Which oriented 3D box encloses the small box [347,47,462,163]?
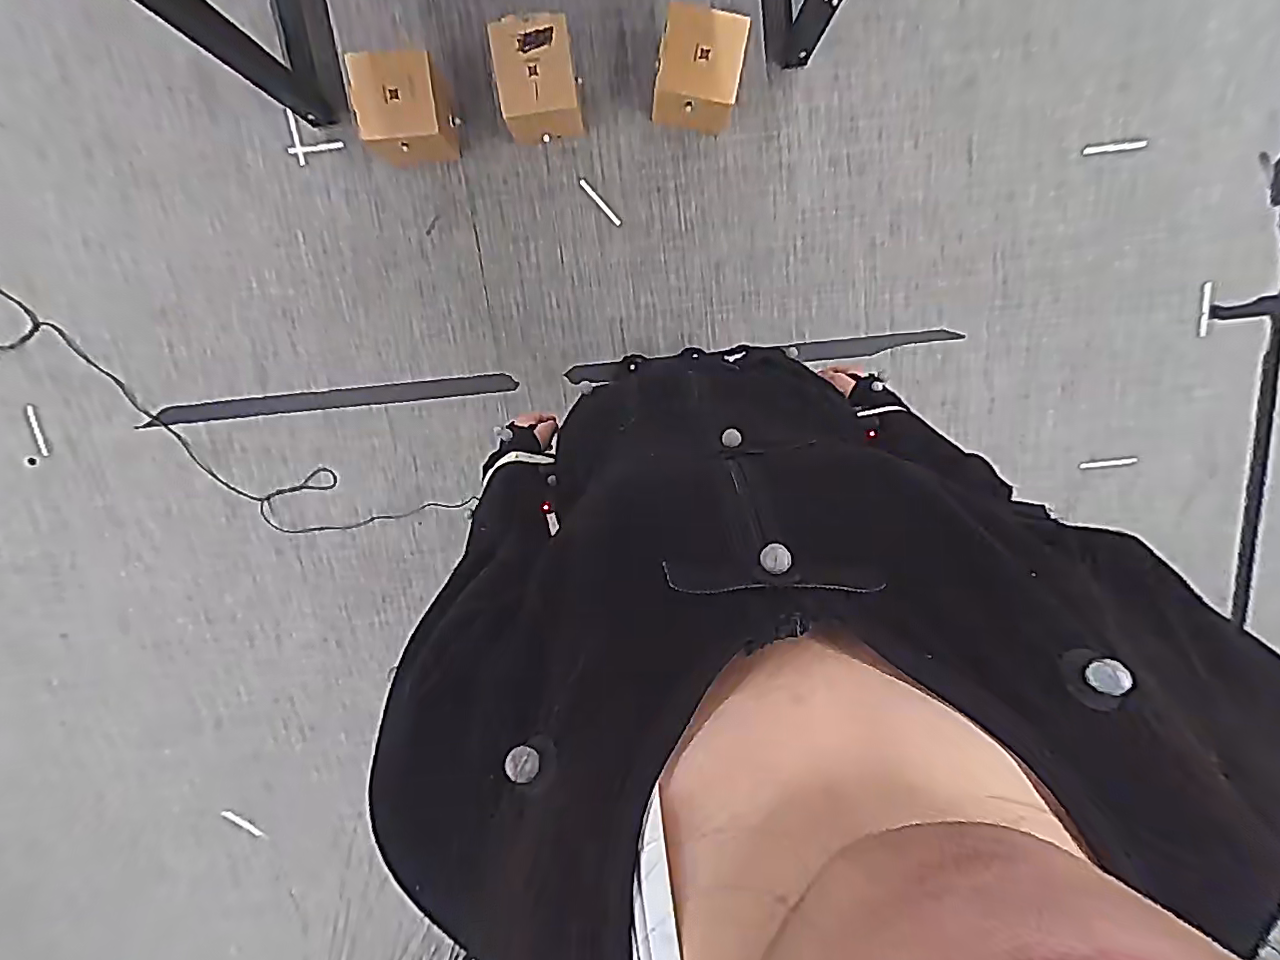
[{"bbox_3d":[-0.524,-0.838,1.225,0.179,0.176,0.168,-4,104,0],"label":"small box"}]

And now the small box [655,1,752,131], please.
[{"bbox_3d":[0.133,-0.912,1.212,0.179,0.176,0.168,11,103,-1],"label":"small box"}]

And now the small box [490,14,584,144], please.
[{"bbox_3d":[-0.223,-0.888,1.213,0.168,0.176,0.179,-7,104,2],"label":"small box"}]
